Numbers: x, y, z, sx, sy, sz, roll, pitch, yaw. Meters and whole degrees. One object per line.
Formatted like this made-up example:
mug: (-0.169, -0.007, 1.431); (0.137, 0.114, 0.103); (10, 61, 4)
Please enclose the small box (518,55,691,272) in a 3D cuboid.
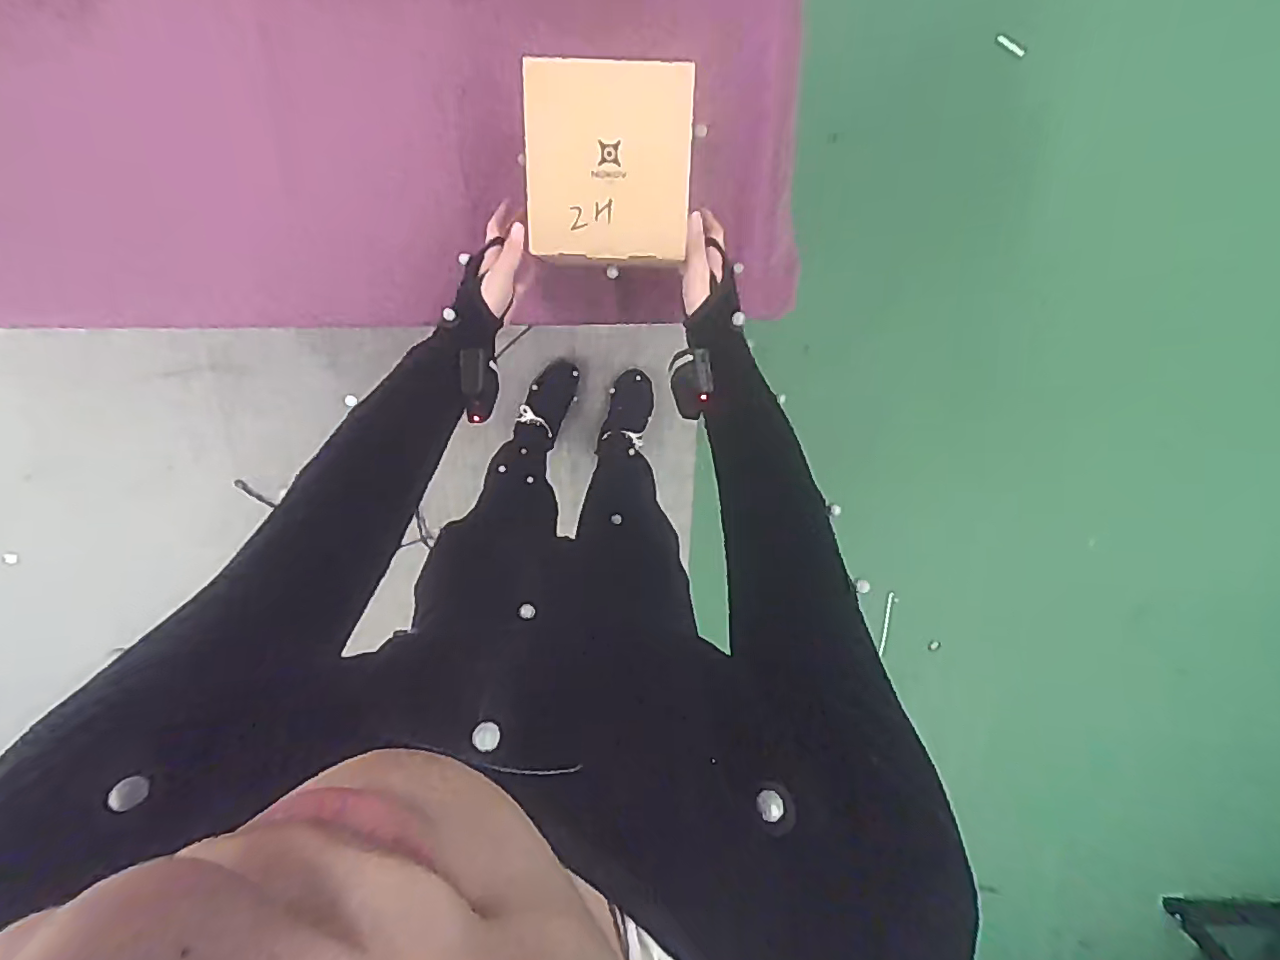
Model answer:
small box: (-0.037, -0.334, 0.605); (0.168, 0.176, 0.179); (2, 108, 0)
